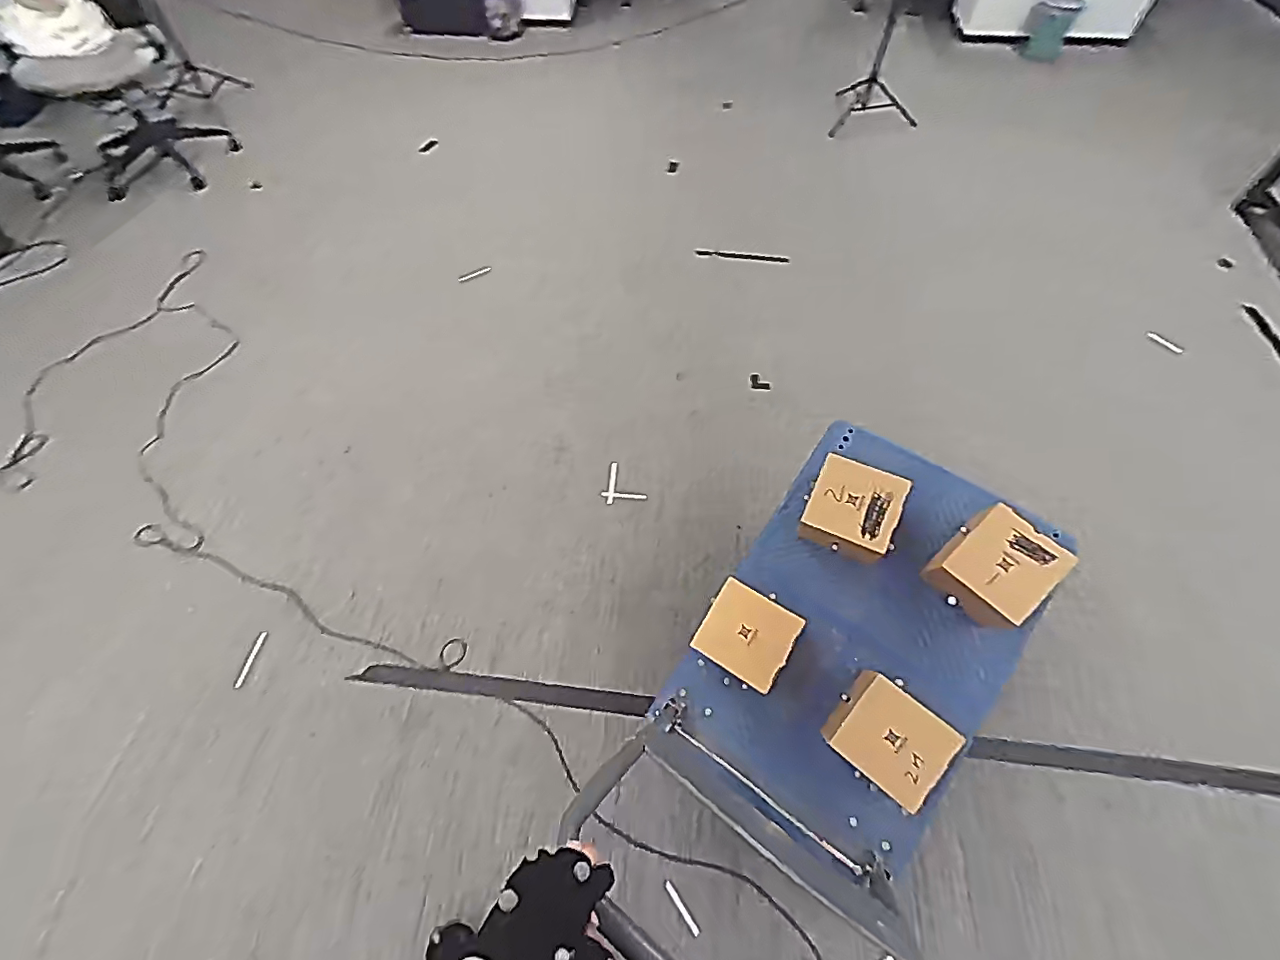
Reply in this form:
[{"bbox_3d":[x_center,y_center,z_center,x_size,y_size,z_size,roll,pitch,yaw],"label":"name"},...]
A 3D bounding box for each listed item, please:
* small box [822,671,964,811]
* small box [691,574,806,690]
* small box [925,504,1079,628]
[{"bbox_3d":[0.478,0.494,1.054,0.179,0.176,0.168,38,85,20],"label":"small box"},{"bbox_3d":[0.230,0.325,1.160,0.179,0.176,0.168,30,82,17],"label":"small box"},{"bbox_3d":[0.716,0.179,1.097,0.179,0.176,0.168,-45,70,-2],"label":"small box"}]
